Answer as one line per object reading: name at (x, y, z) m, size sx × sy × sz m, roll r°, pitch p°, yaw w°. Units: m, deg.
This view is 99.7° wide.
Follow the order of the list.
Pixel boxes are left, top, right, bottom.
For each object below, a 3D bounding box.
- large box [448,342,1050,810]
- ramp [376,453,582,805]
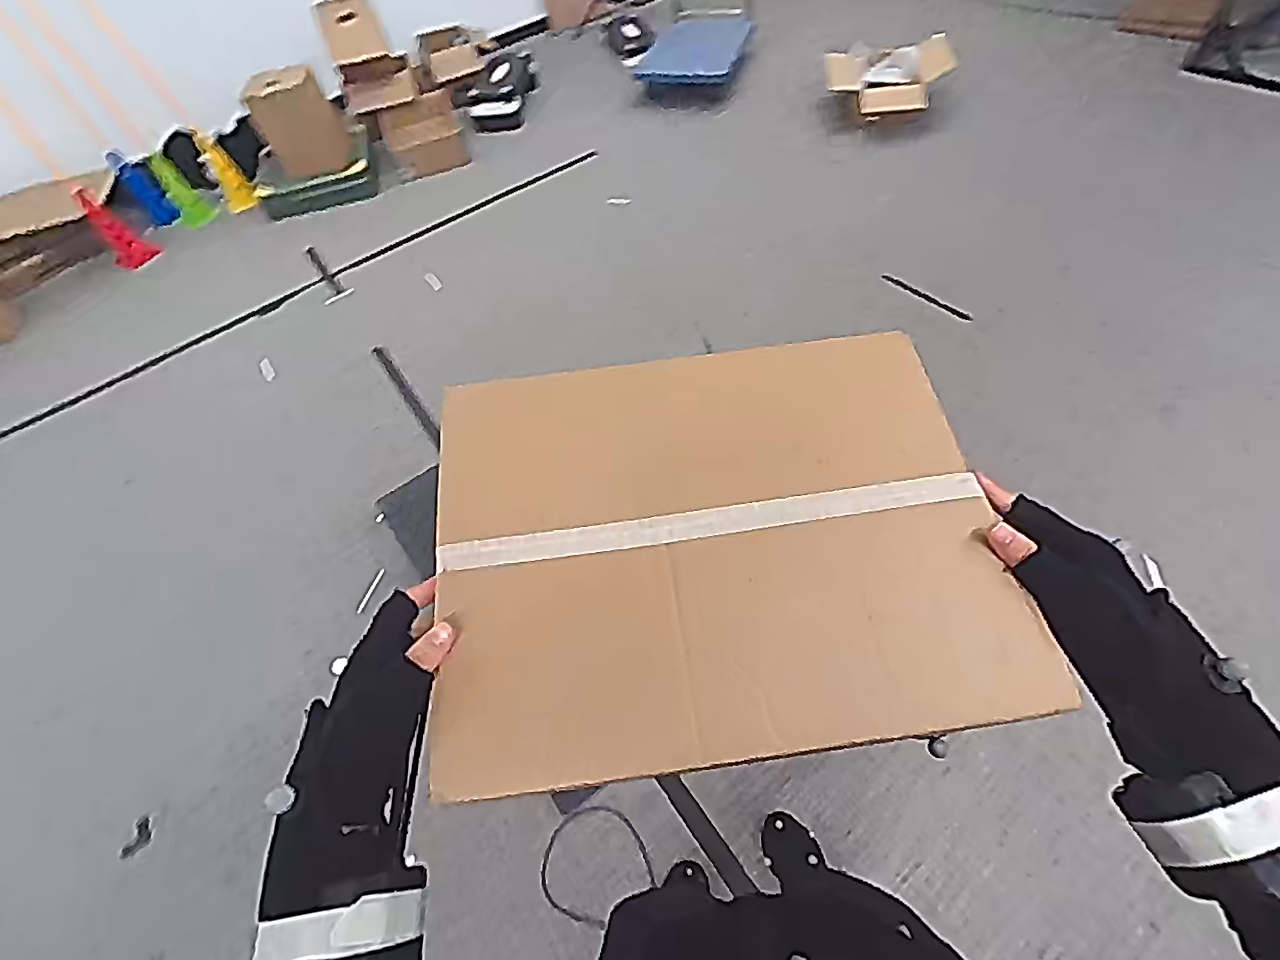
large box at (0.059, 0.105, 0.543) m, size 0.408 × 0.320 × 0.320 m, roll -8°, pitch 62°, yaw -3°
ramp at (-0.293, 0.284, 1.507) m, size 0.509 × 0.206 × 0.991 m, roll -35°, pitch 60°, yaw -18°
